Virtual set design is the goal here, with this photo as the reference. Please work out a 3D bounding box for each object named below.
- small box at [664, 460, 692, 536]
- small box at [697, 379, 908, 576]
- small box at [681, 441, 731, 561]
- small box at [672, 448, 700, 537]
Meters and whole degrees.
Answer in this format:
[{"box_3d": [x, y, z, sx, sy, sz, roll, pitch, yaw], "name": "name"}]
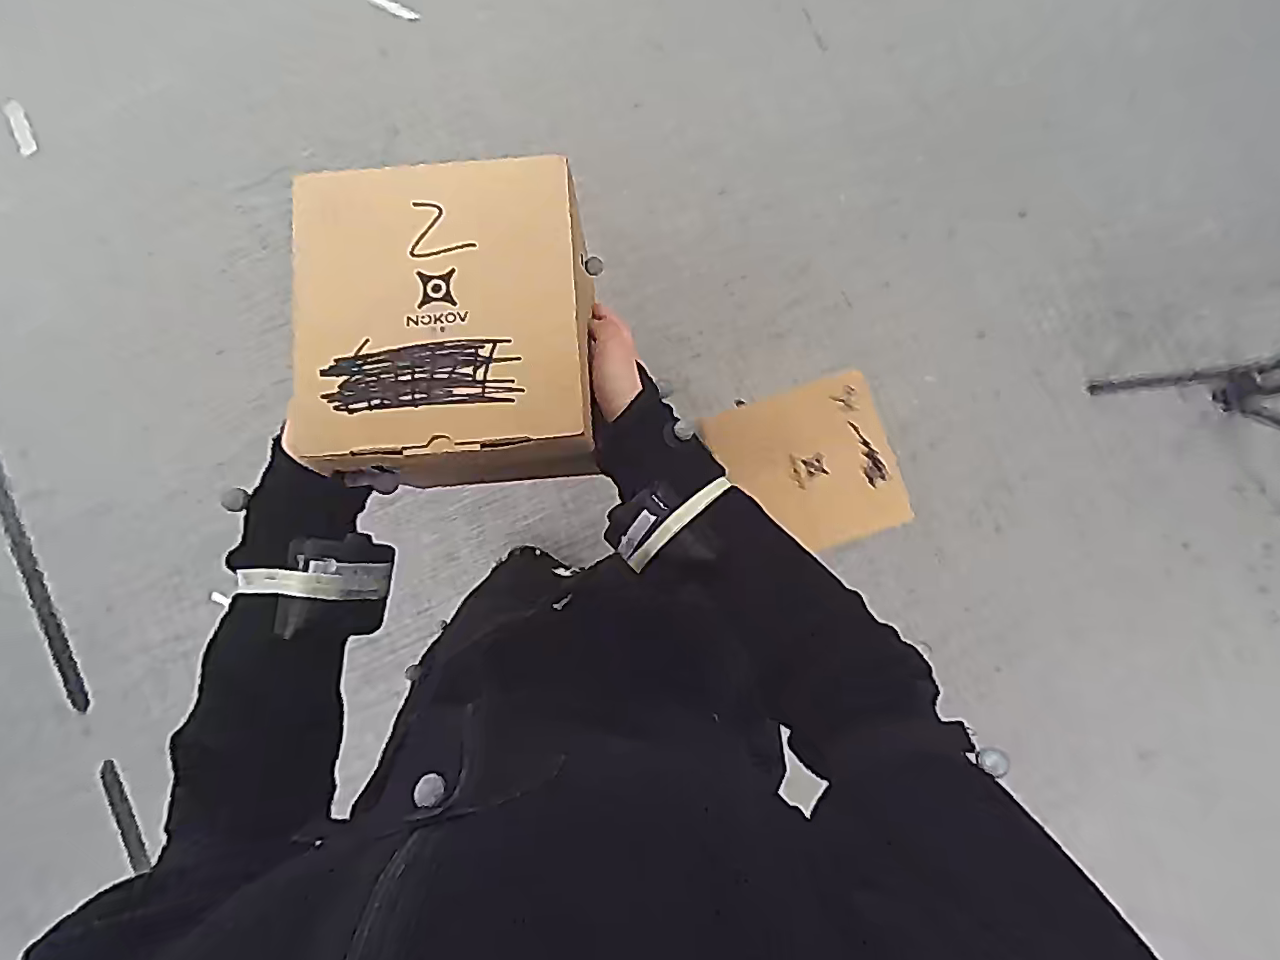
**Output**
[{"box_3d": [0.157, 0.025, 1.287, 0.168, 0.176, 0.179, -16, 87, 0], "name": "small box"}, {"box_3d": [0.171, 0.002, 0.633, 0.179, 0.176, 0.168, -18, 87, 2], "name": "small box"}, {"box_3d": [0.166, 0.011, 0.797, 0.179, 0.176, 0.168, -16, 86, 2], "name": "small box"}, {"box_3d": [0.163, 0.014, 1.123, 0.168, 0.176, 0.179, -13, 87, 1], "name": "small box"}]
